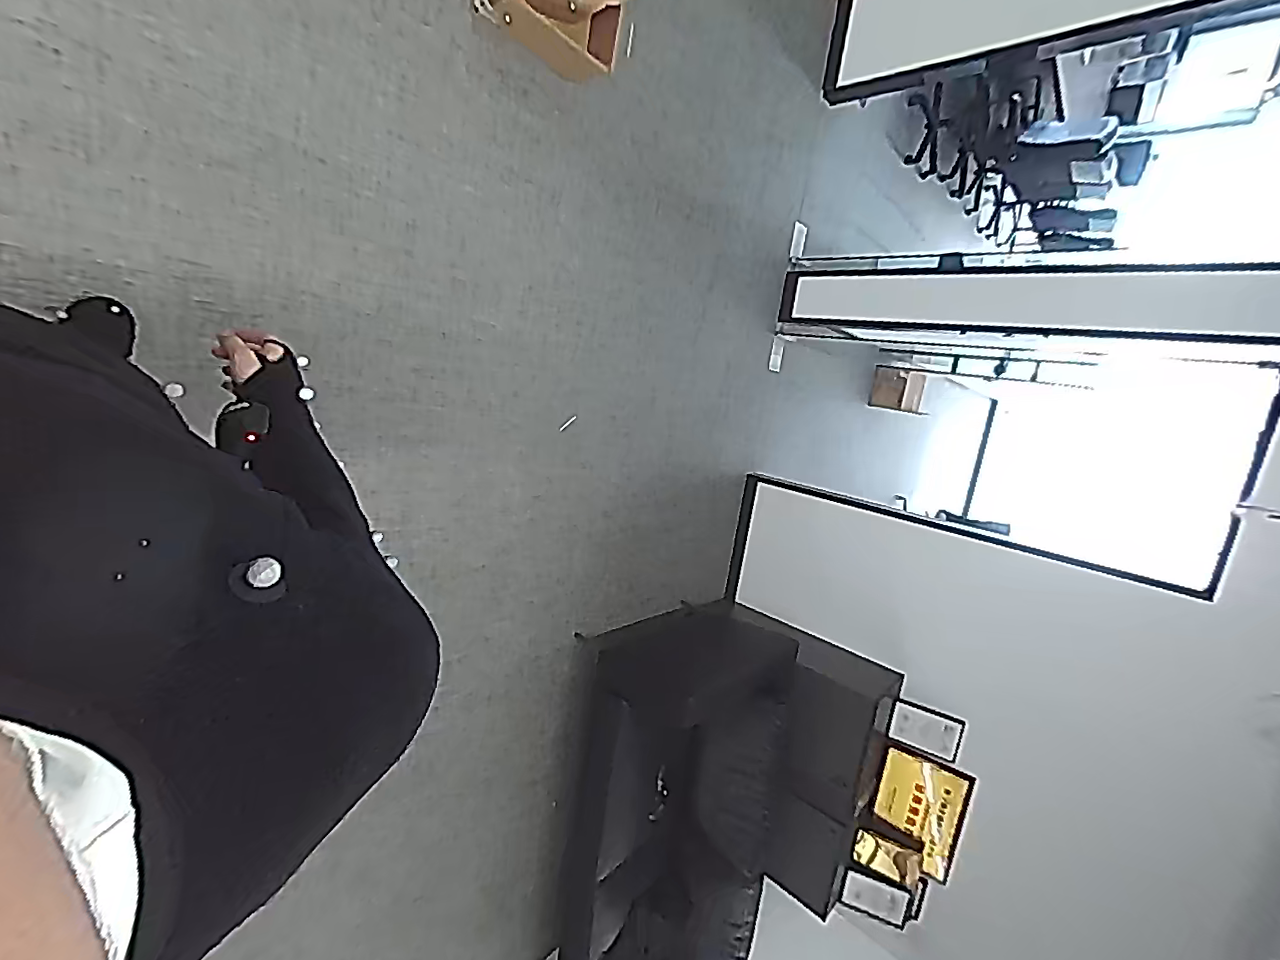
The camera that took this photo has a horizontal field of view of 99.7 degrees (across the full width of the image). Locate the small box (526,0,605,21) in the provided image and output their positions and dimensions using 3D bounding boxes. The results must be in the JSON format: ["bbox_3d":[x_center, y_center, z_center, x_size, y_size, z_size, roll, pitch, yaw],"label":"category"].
[{"bbox_3d":[-0.226,-1.483,1.575,0.179,0.176,0.168,-22,119,-43],"label":"small box"}]

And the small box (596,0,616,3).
[{"bbox_3d":[-0.085,-1.454,1.492,0.179,0.176,0.168,-34,126,-37],"label":"small box"}]
